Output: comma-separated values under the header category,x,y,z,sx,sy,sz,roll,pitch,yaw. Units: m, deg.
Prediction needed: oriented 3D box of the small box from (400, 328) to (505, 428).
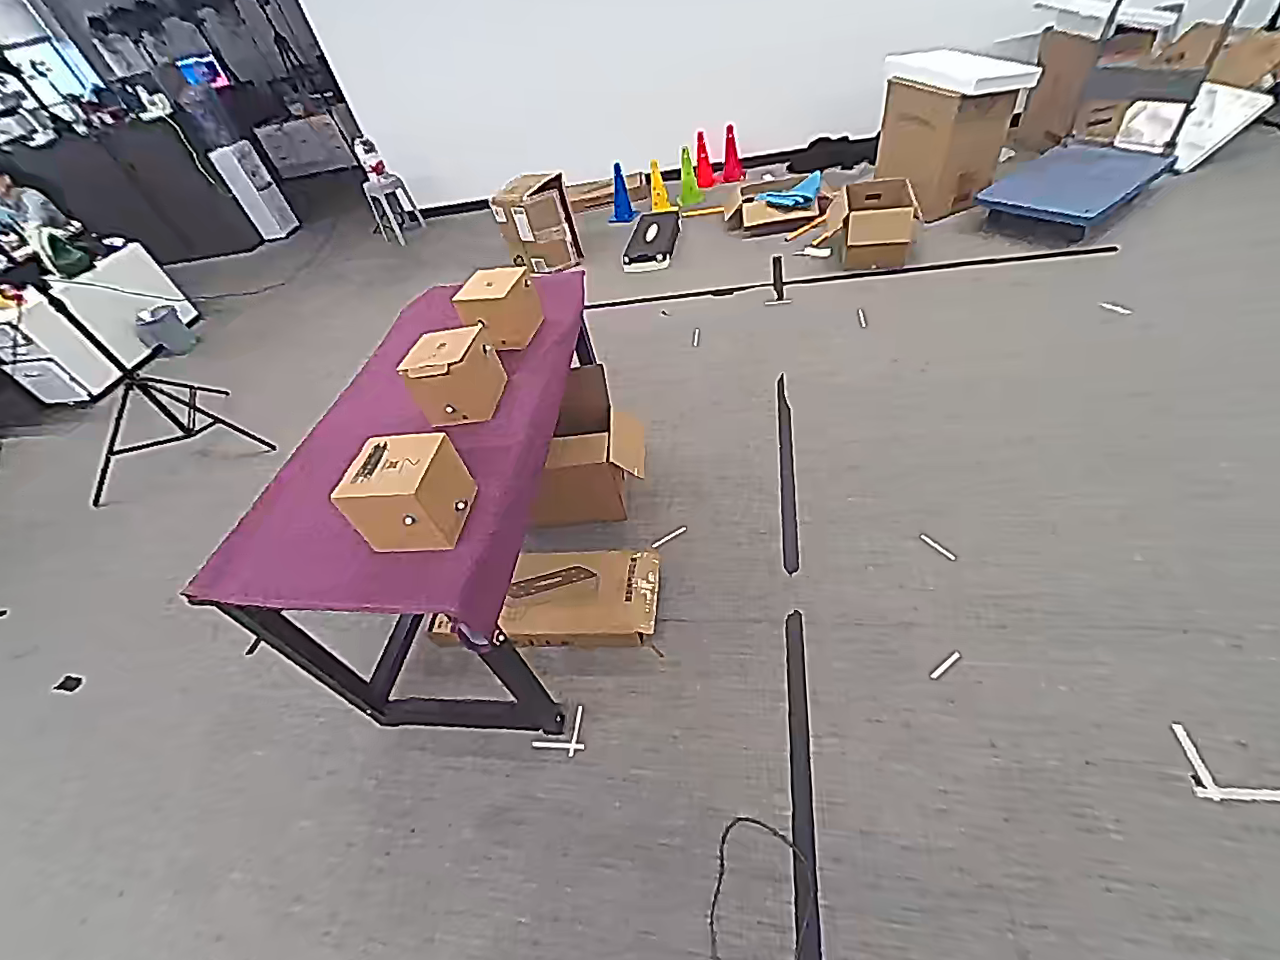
category,x,y,z,sx,sy,sz,roll,pitch,yaw
small box,-0.457,-0.253,1.354,0.168,0.176,0.179,-5,46,13

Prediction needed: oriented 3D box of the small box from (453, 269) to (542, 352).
category,x,y,z,sx,sy,sz,roll,pitch,yaw
small box,-0.403,-0.484,1.566,0.168,0.176,0.179,2,47,16
